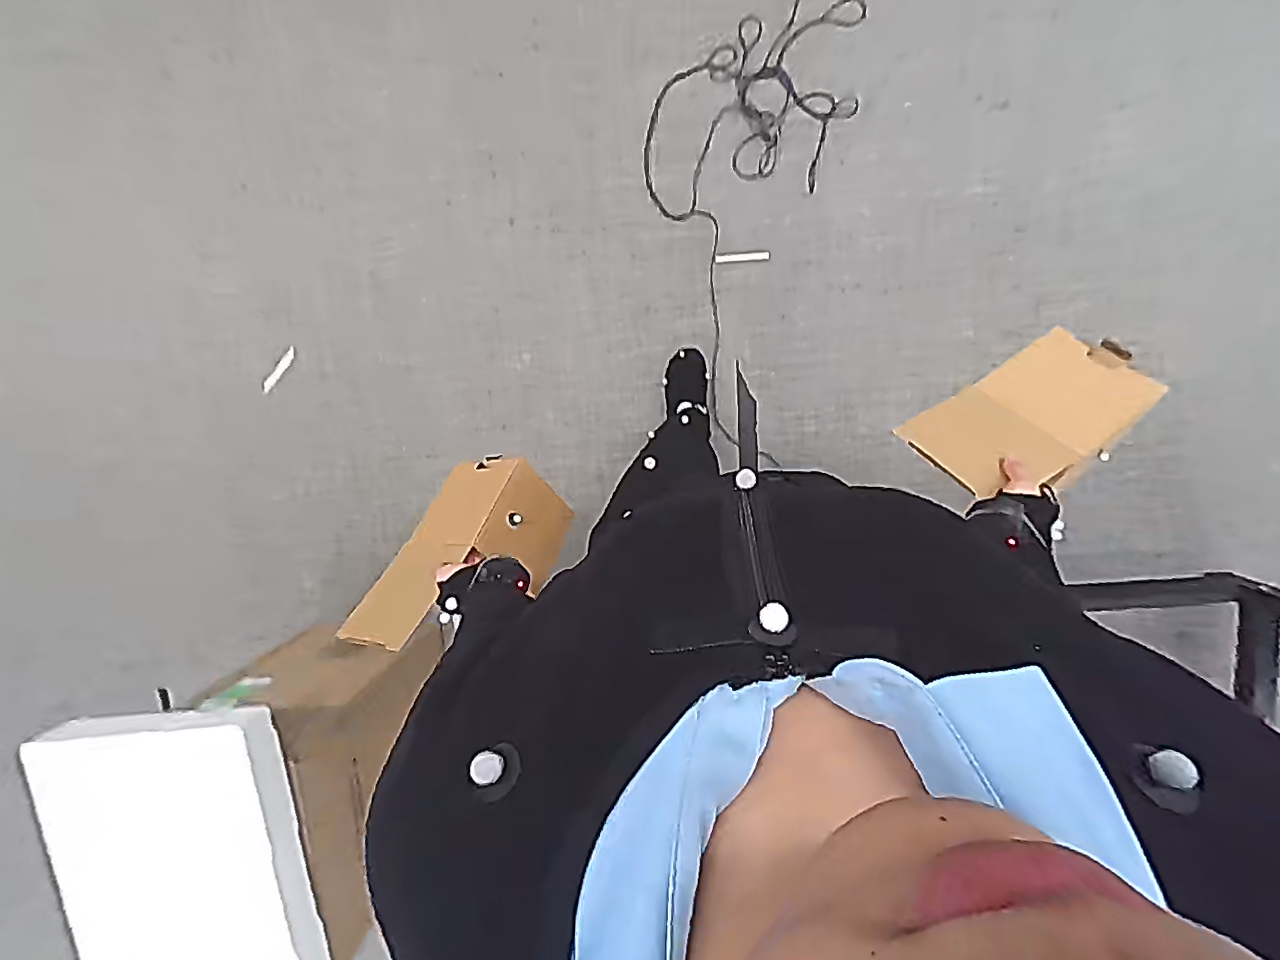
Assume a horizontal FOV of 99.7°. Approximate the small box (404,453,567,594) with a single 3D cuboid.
[{"bbox_3d":[-0.250,0.078,0.920,0.168,0.179,0.176,-3,139,32],"label":"small box"}]
